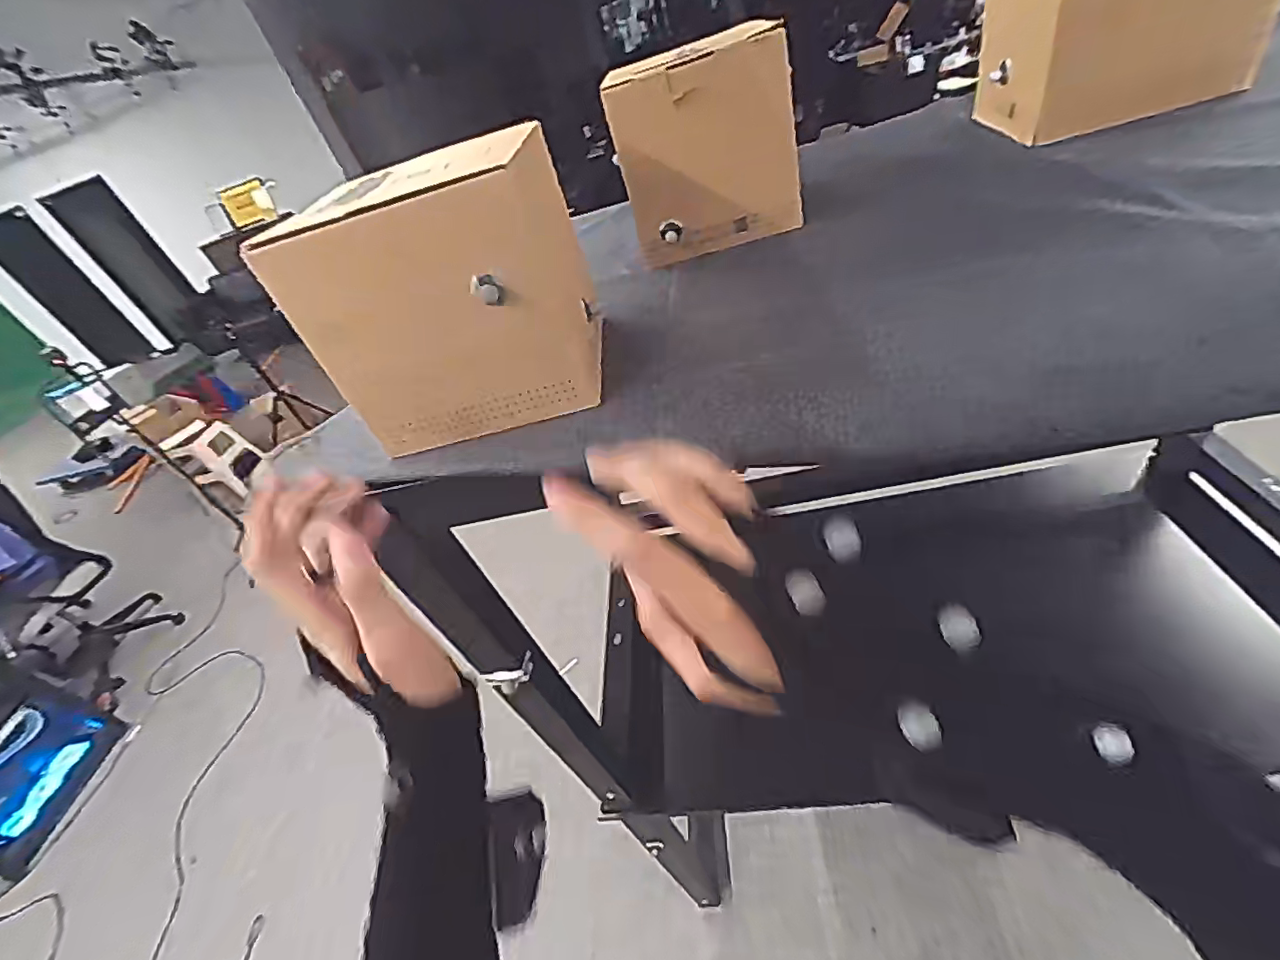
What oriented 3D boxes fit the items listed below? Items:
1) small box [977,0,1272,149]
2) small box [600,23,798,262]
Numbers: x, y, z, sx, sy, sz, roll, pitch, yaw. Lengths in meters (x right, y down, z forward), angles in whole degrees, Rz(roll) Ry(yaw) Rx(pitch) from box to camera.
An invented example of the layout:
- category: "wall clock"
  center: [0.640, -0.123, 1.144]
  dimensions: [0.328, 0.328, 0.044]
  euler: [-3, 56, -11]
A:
- category: "small box"
  center: [0.455, -0.450, 0.520]
  dimensions: [0.179, 0.176, 0.168]
  euler: [-10, 40, 15]
- category: "small box"
  center: [0.066, -0.354, 0.581]
  dimensions: [0.168, 0.176, 0.179]
  euler: [-12, 39, 12]
